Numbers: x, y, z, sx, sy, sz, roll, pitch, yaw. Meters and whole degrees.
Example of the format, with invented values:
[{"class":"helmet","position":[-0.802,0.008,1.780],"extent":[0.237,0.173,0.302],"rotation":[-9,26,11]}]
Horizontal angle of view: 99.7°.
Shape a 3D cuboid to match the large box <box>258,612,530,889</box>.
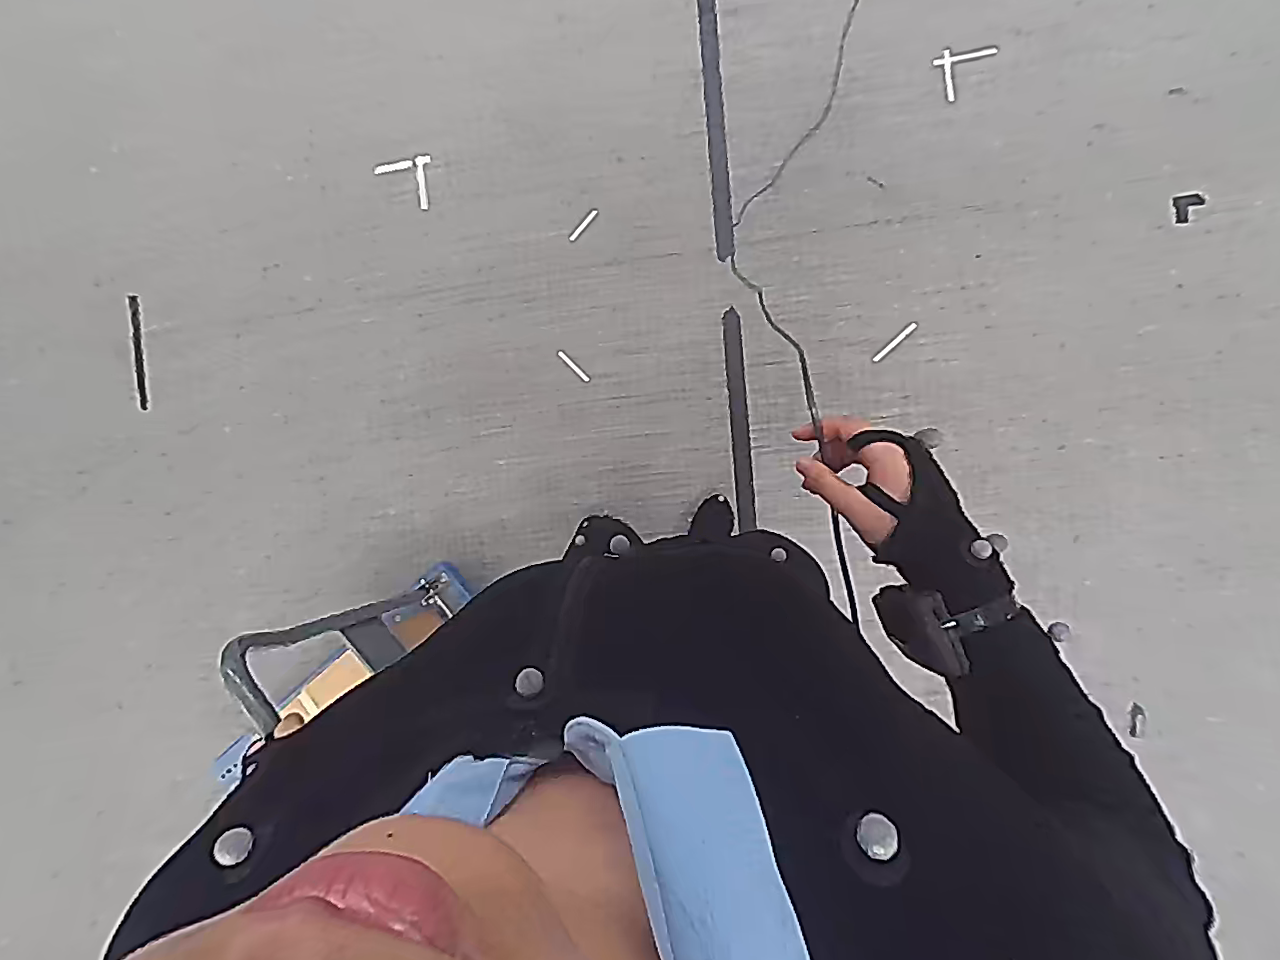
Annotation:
[{"class":"large box","position":[-0.528,0.577,1.229],"extent":[0.320,0.320,0.408],"rotation":[-41,84,4]}]
